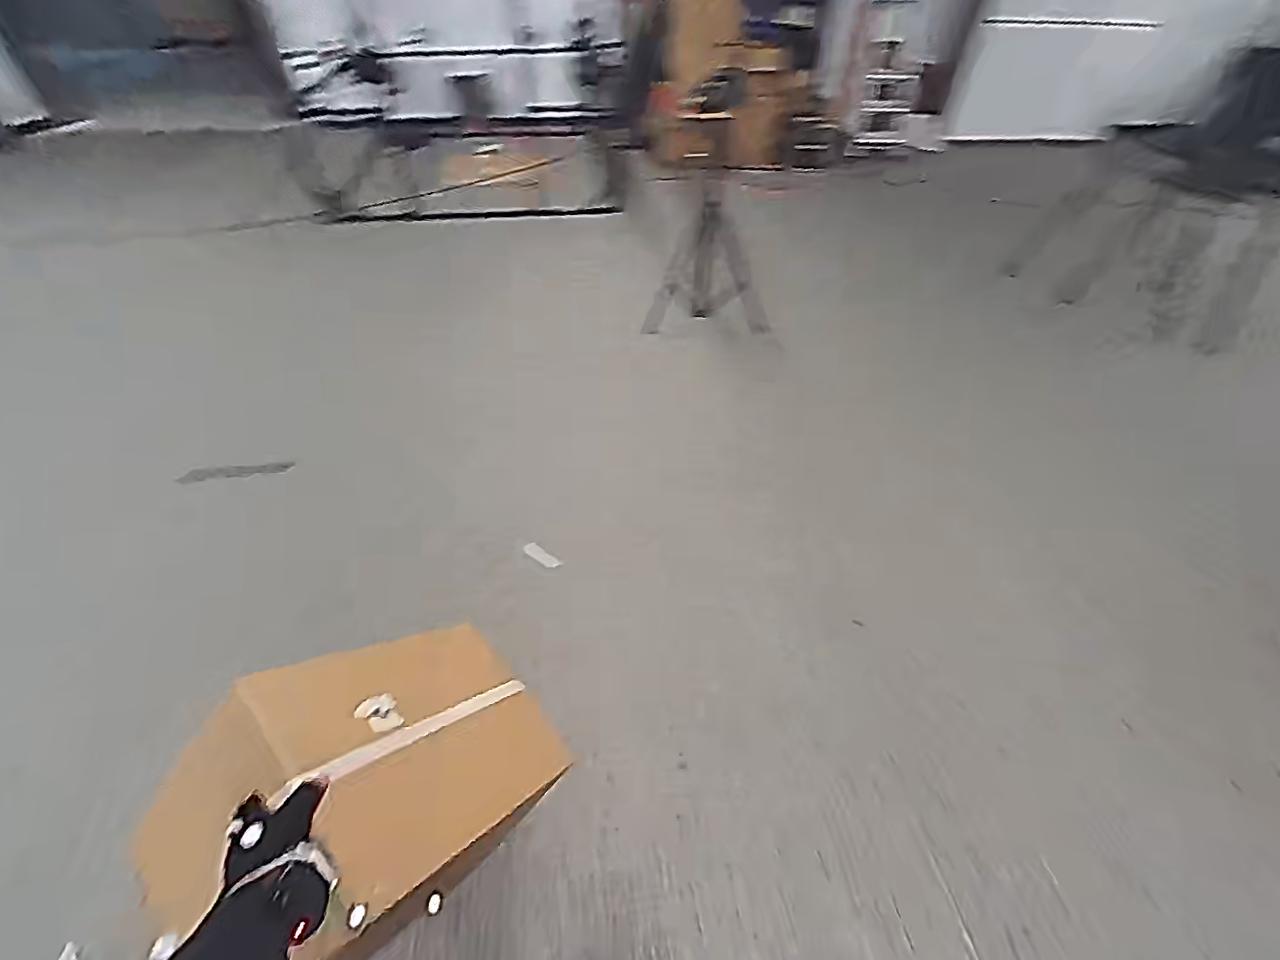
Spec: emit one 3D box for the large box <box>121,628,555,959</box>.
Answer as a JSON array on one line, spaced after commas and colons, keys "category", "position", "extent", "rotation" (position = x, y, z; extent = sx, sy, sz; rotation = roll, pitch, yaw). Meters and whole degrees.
[{"category": "large box", "position": [-0.408, 0.474, 0.800], "extent": [0.320, 0.320, 0.408], "rotation": [44, 13, 19]}]
